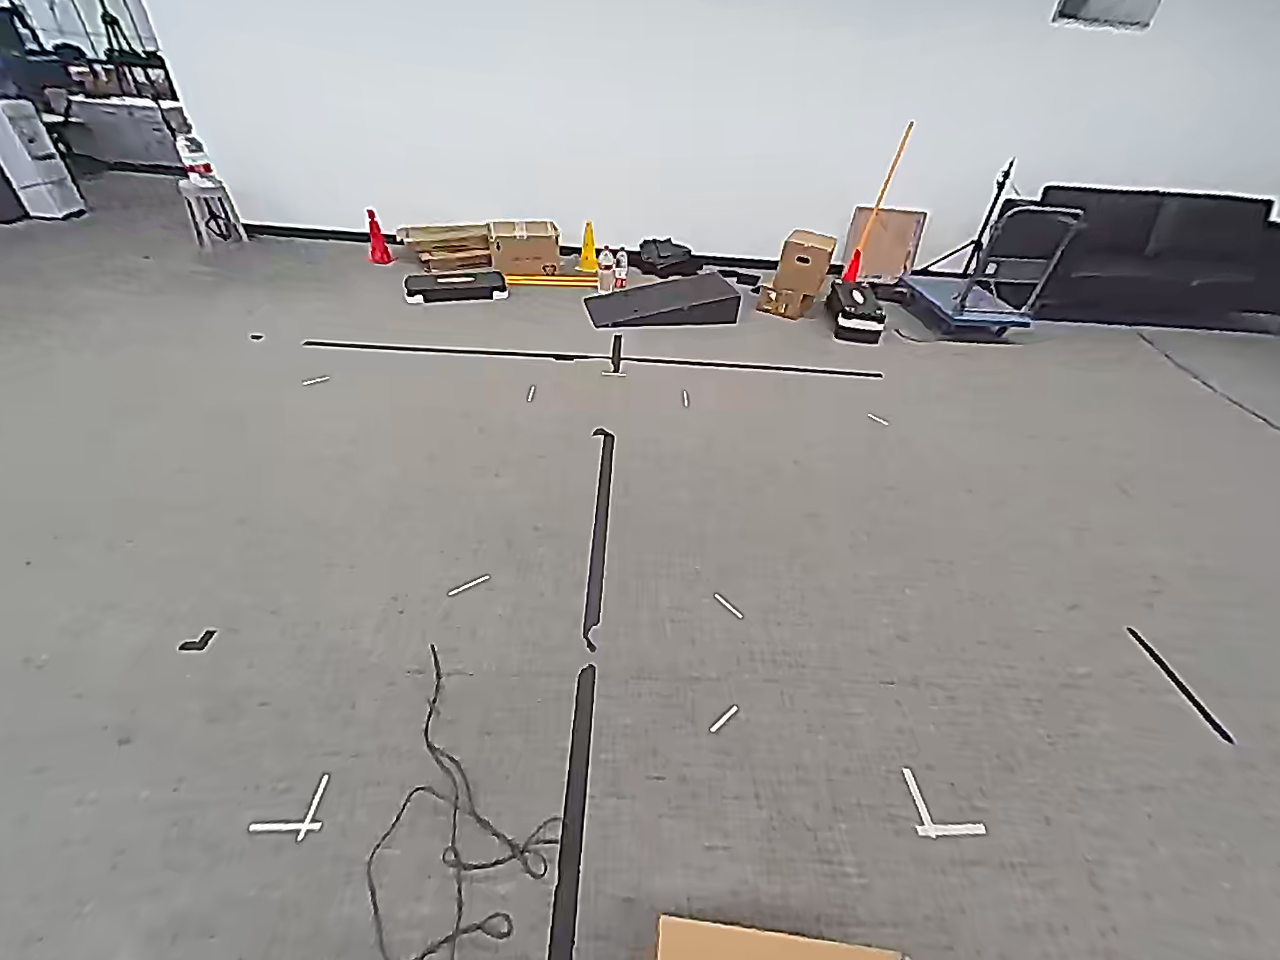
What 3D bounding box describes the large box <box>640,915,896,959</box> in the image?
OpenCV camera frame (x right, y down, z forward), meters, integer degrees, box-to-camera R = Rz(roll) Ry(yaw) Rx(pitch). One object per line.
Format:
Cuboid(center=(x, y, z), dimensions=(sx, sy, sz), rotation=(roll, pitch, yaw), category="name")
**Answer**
Cuboid(center=(0.194, 0.961, 0.868), dimensions=(0.408, 0.320, 0.320), rotation=(8, 38, 1), category="large box")
